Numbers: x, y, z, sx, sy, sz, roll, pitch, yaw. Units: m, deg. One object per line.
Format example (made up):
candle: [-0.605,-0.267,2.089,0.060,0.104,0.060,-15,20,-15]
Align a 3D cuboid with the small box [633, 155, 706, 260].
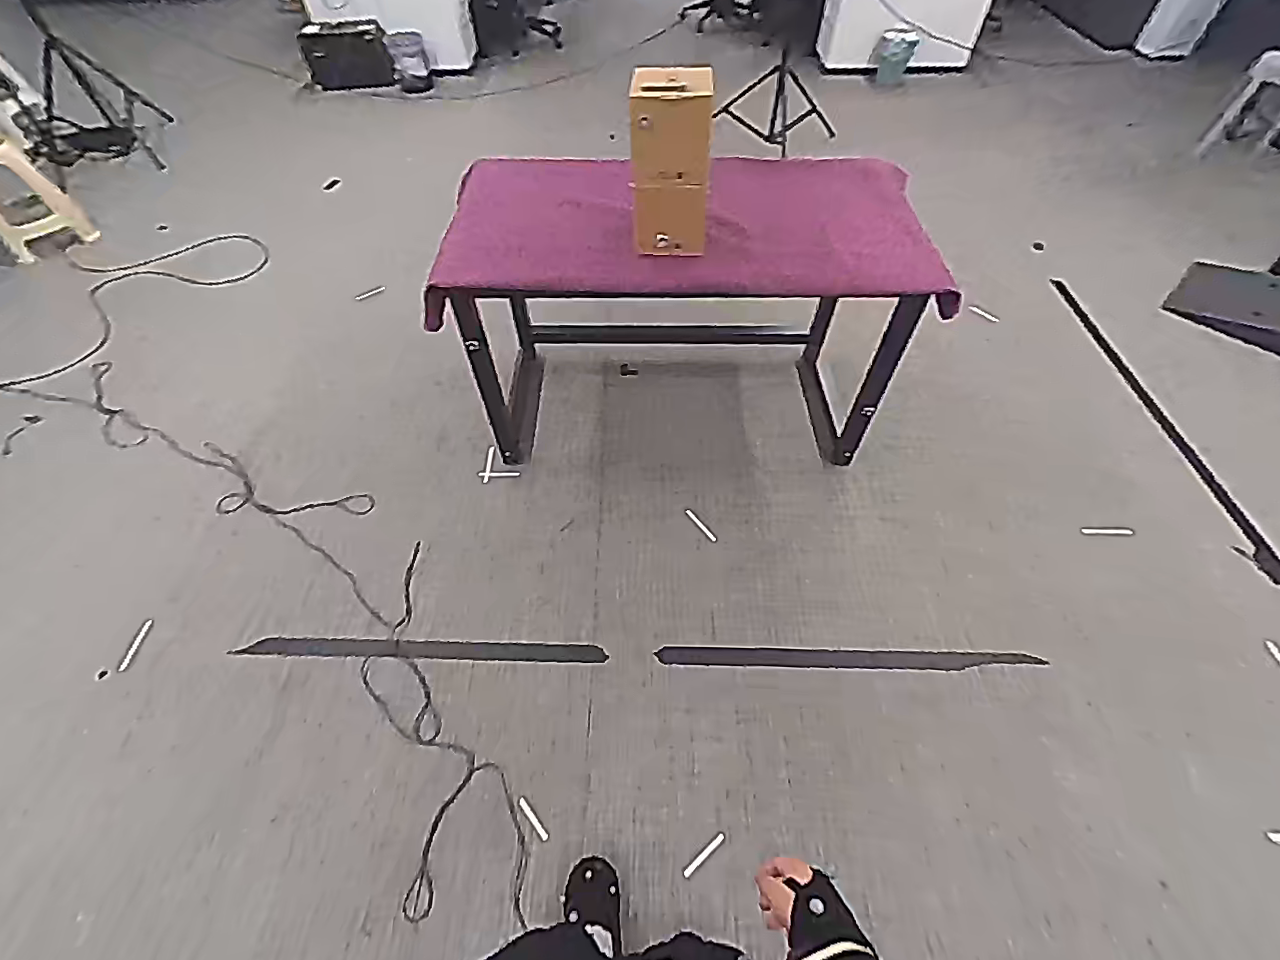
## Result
small box: [0.070,-0.655,1.300,0.168,0.176,0.179,1,54,3]
